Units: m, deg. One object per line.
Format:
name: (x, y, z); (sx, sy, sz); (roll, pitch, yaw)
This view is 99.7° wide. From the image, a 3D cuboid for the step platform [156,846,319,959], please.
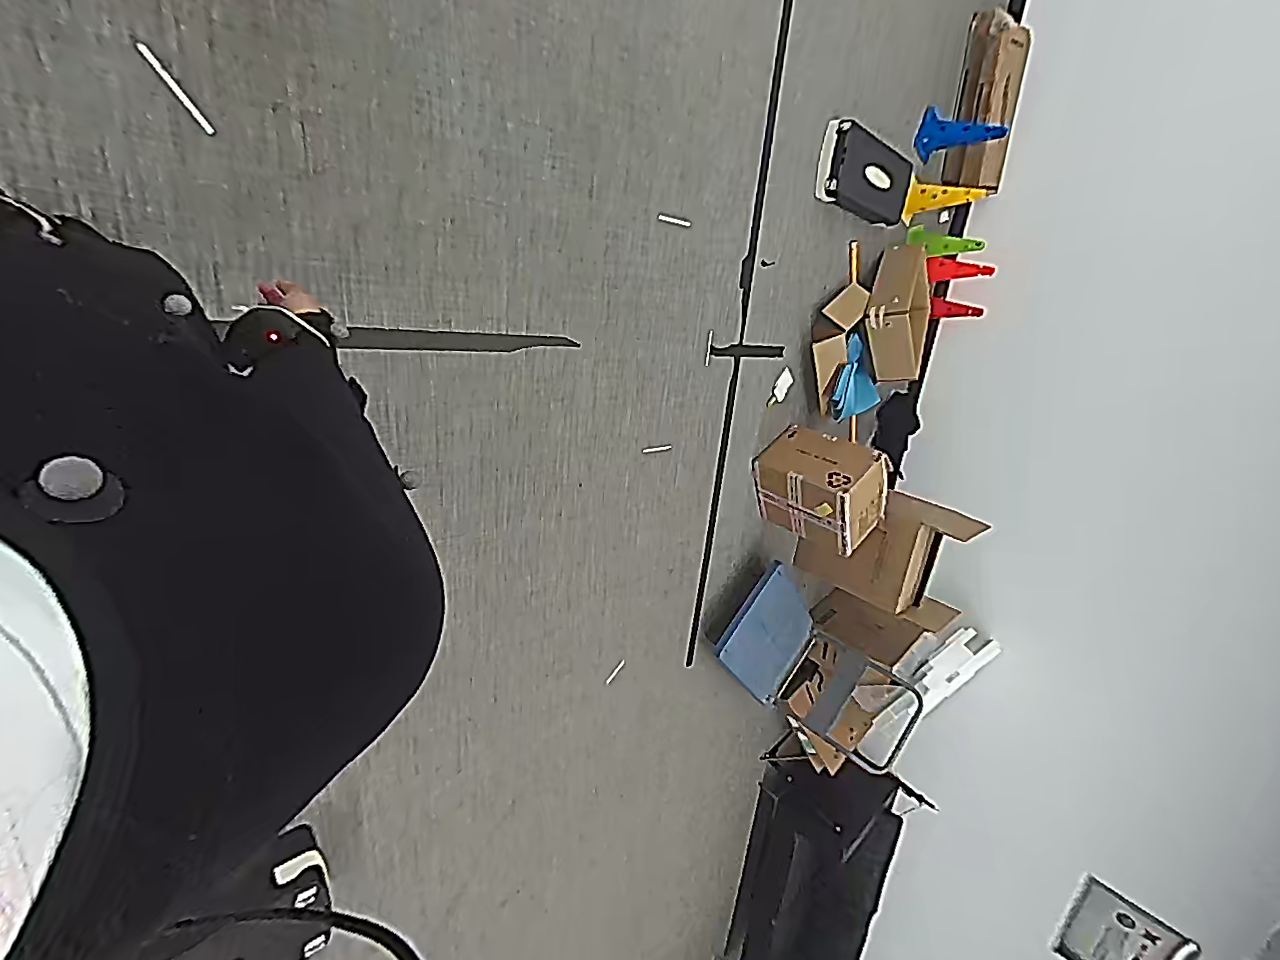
step platform: (-1.175, 1.237, 1.308); (0.684, 0.204, 0.286); (-13, 117, -43)
